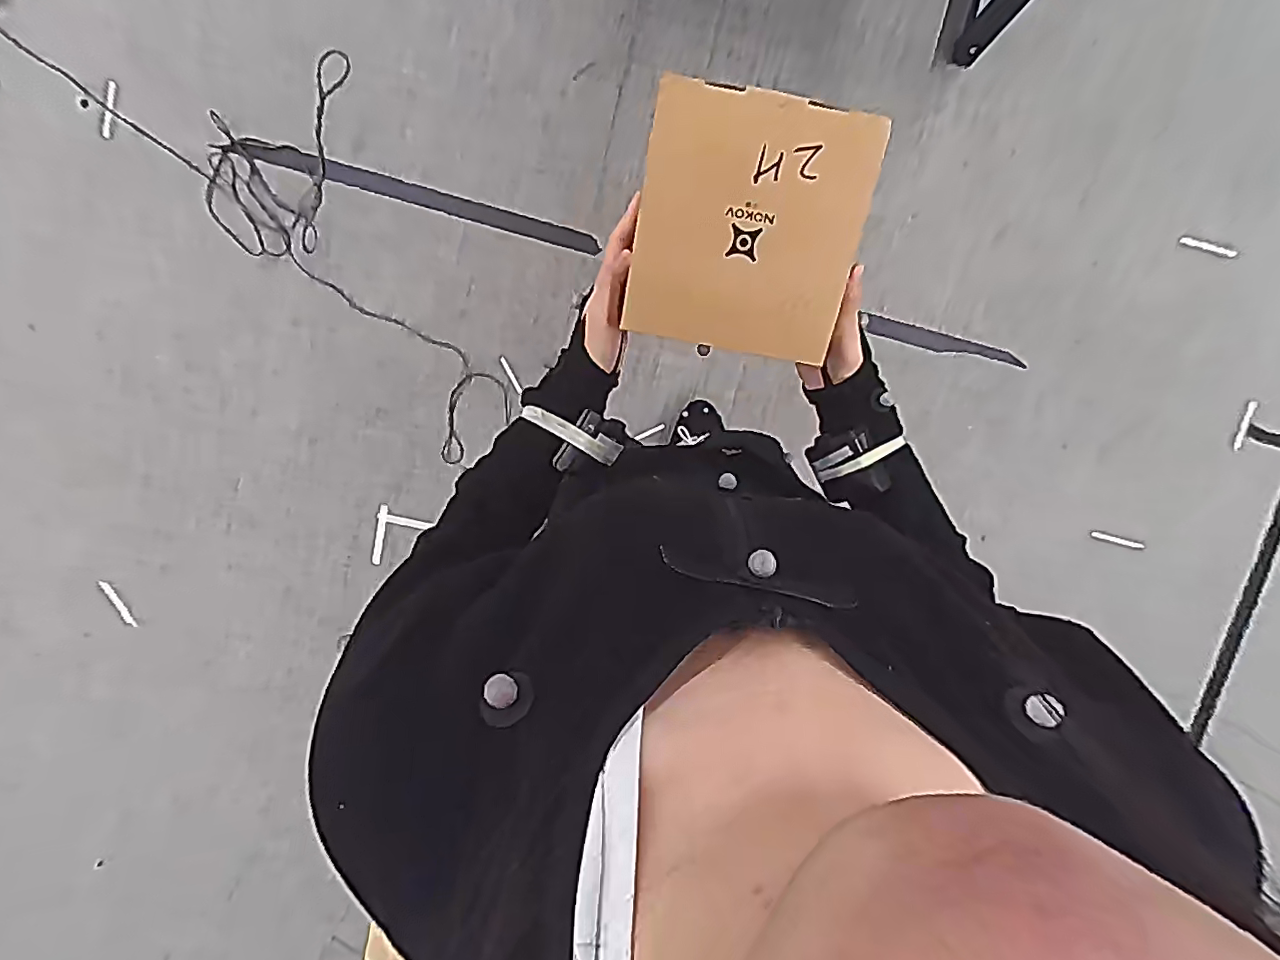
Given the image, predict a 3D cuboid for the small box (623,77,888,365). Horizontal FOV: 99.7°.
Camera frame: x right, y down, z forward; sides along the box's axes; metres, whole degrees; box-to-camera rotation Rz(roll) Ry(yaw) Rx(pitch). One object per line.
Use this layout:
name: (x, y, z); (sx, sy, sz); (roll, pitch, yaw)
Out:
small box: (0.085, -0.213, 0.481); (0.168, 0.176, 0.179); (10, 109, -2)
